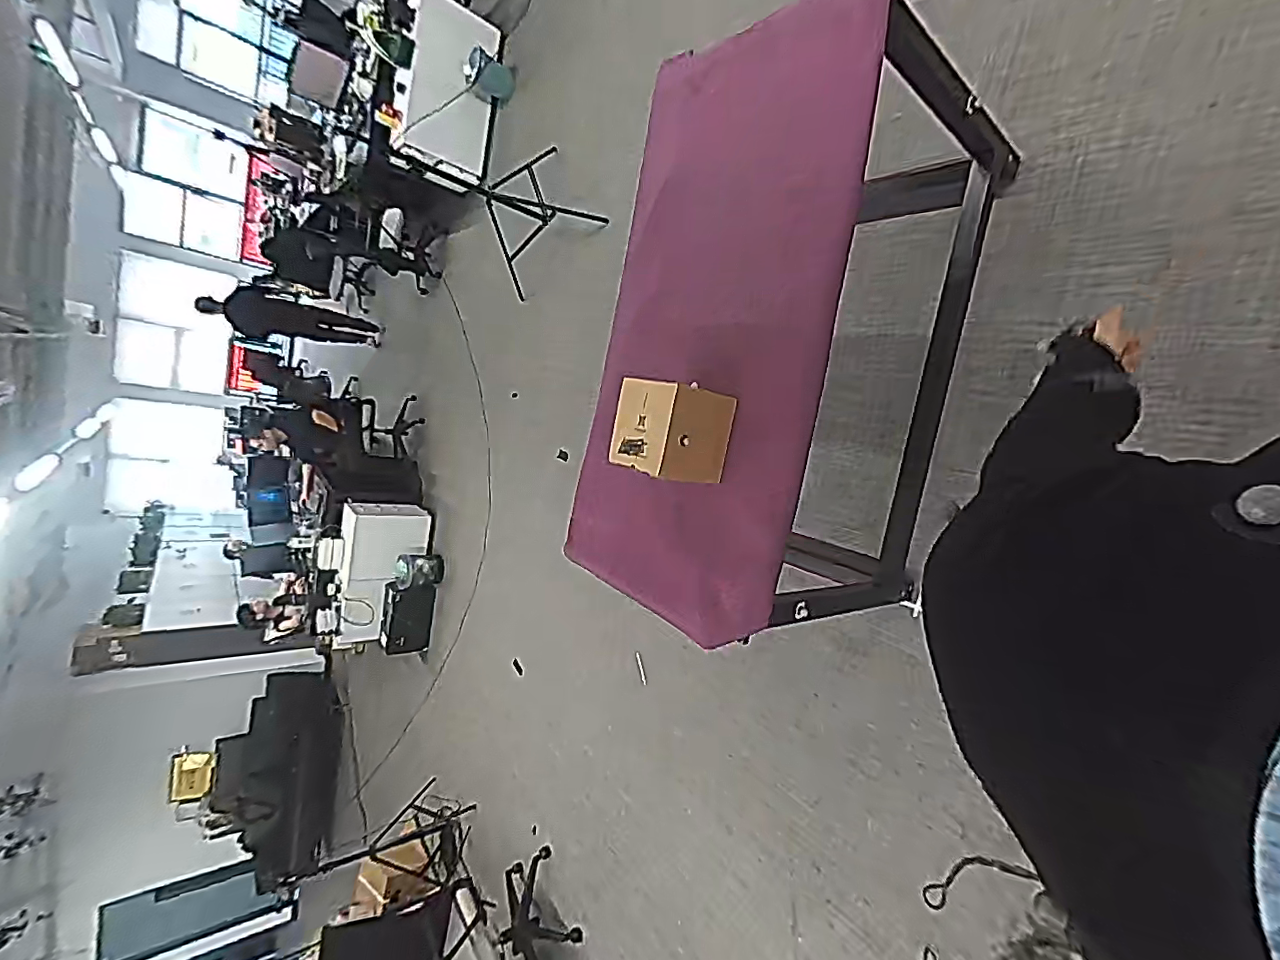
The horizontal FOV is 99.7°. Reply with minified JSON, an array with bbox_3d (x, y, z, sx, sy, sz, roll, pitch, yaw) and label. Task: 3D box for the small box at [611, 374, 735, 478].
[{"bbox_3d":[0.068,-0.106,1.088,0.168,0.176,0.179,20,101,49],"label":"small box"}]
